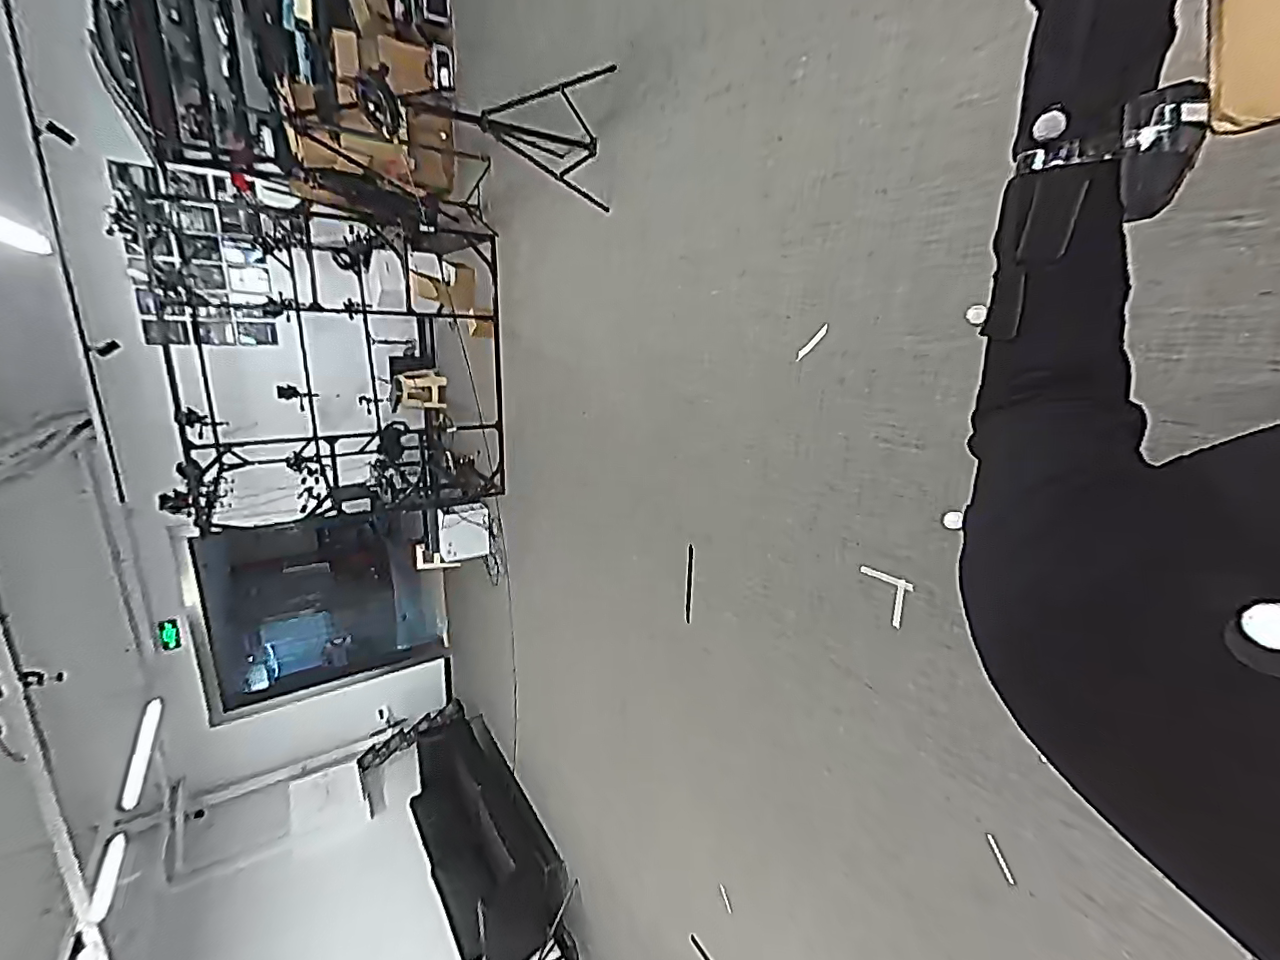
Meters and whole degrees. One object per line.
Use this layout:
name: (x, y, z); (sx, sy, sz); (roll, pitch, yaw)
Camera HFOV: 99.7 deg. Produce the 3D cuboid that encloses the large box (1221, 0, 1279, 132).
large box: (0.516, -0.380, 0.181); (0.408, 0.320, 0.320); (7, 118, 57)
